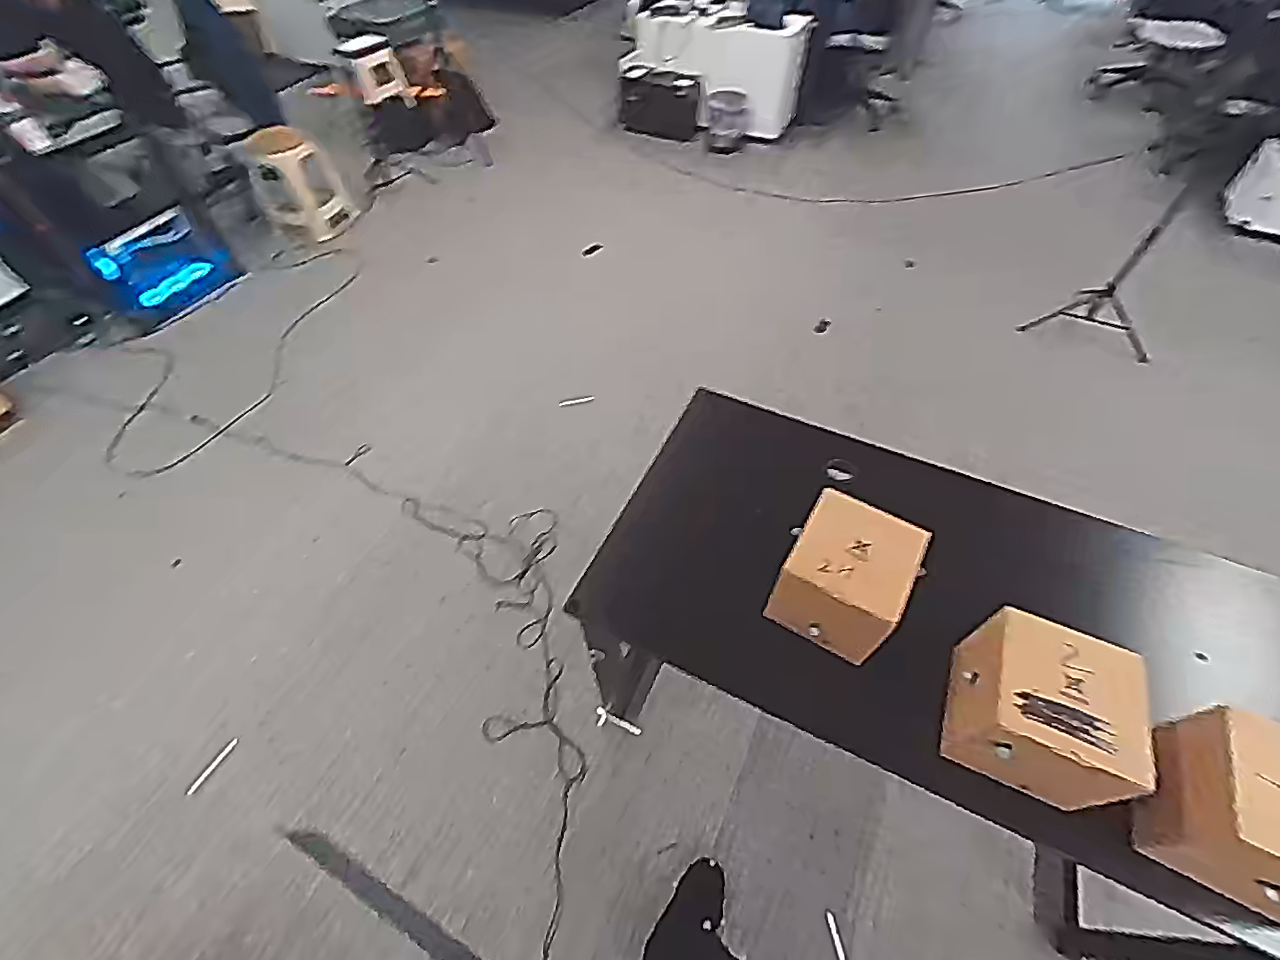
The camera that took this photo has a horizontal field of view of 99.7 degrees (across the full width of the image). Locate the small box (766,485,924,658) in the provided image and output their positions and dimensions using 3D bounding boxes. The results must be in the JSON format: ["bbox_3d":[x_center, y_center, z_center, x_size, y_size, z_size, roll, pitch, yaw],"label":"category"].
[{"bbox_3d":[0.316,0.147,0.859,0.168,0.176,0.179,26,58,20],"label":"small box"}]

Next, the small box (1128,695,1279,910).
[{"bbox_3d":[0.755,0.398,0.659,0.179,0.176,0.168,22,56,18],"label":"small box"}]
